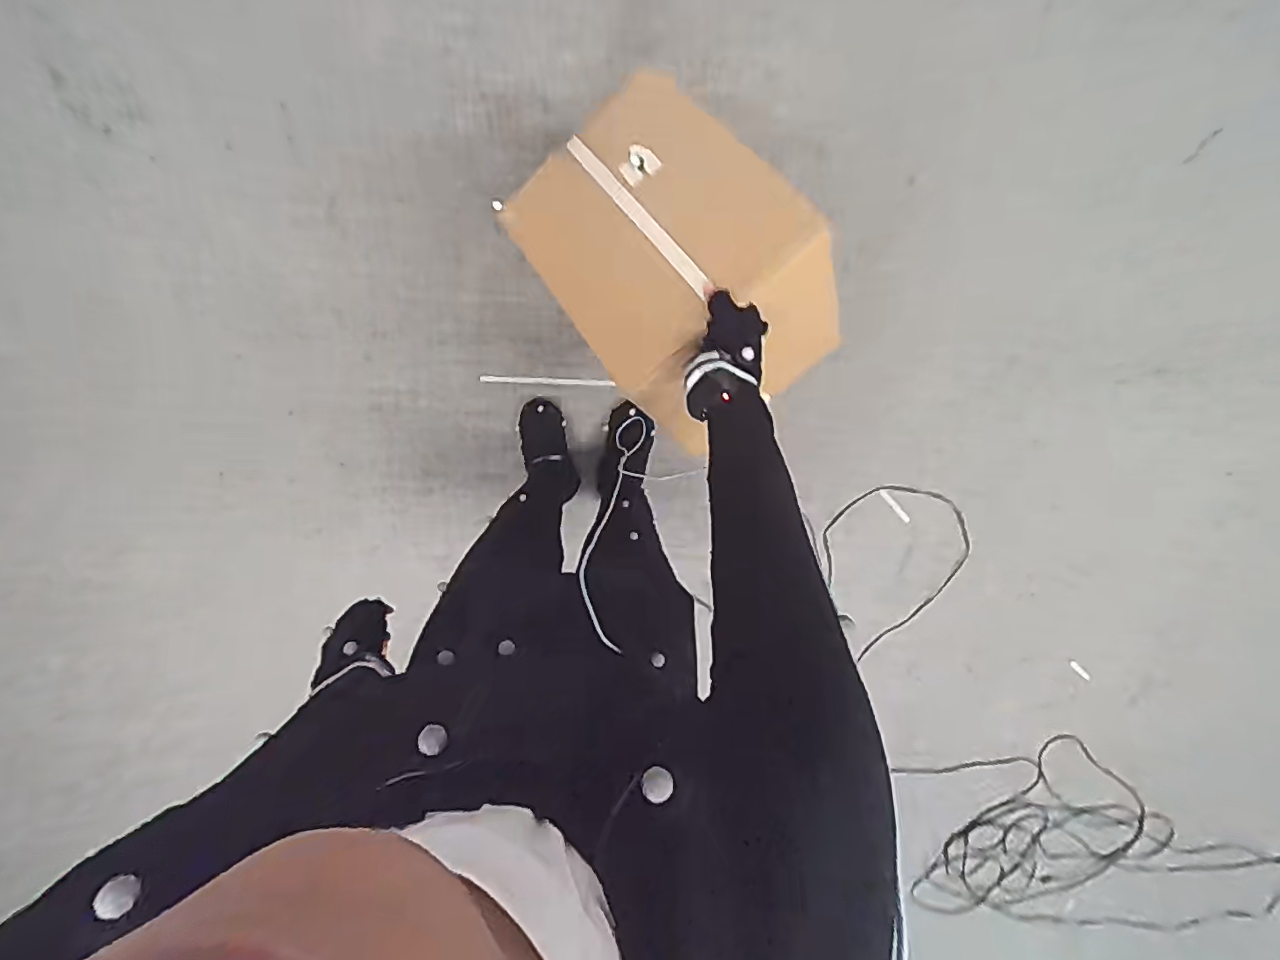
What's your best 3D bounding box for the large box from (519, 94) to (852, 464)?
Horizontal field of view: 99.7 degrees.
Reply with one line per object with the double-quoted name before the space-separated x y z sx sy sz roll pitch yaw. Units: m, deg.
"large box" 0.082 -0.296 0.875 0.320 0.320 0.408 -37 65 10
